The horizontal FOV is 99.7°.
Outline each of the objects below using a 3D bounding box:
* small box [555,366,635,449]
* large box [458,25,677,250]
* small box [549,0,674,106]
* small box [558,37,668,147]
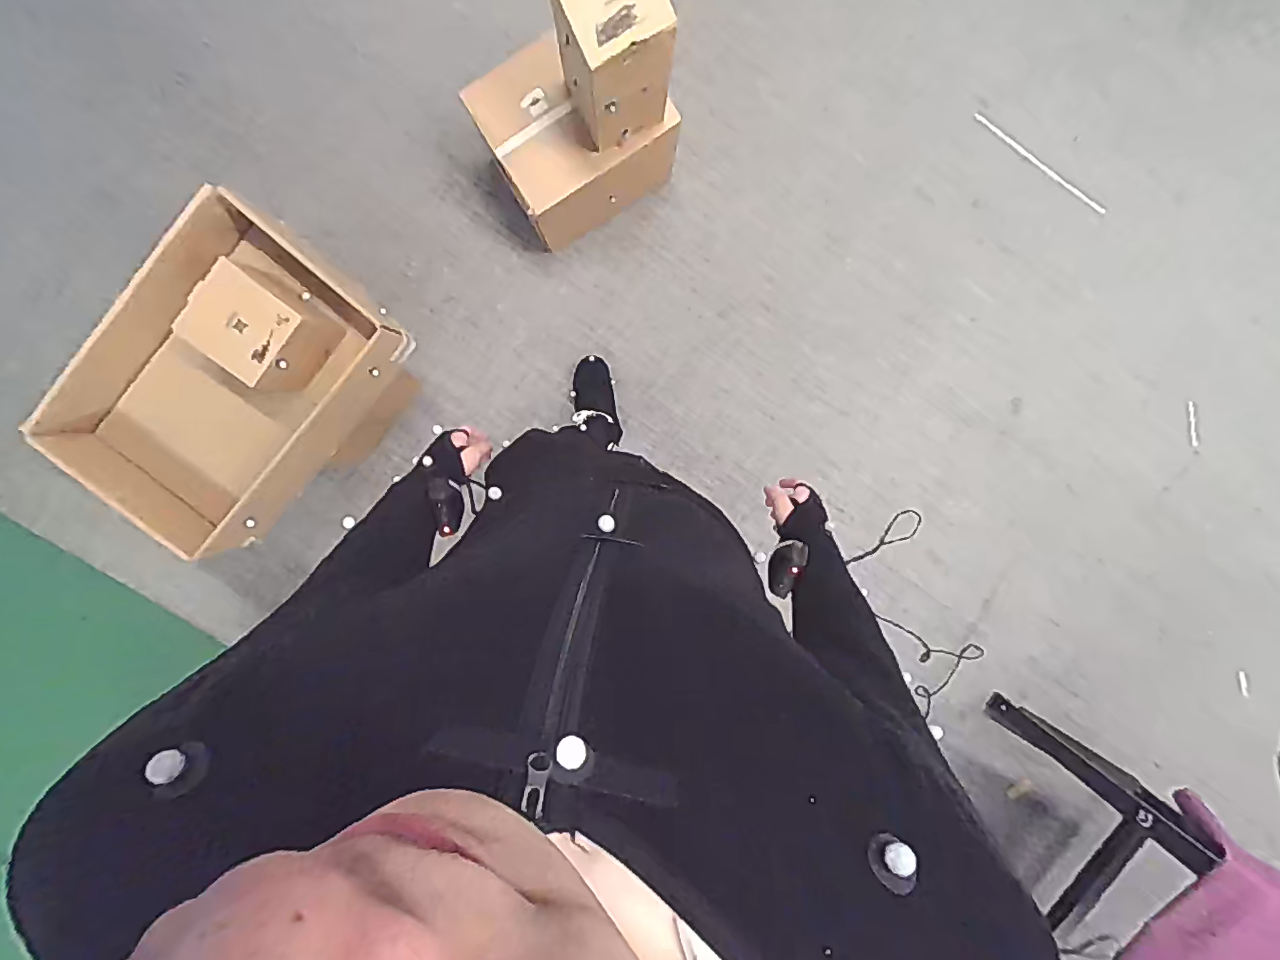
[{"bbox_3d":[-0.121,-0.202,1.543,0.168,0.176,0.179,26,95,2],"label":"small box"},{"bbox_3d":[-0.163,-0.856,1.353,0.408,0.320,0.320,-33,97,3],"label":"large box"},{"bbox_3d":[-0.052,-0.805,0.952,0.168,0.176,0.179,-26,98,2],"label":"small box"},{"bbox_3d":[-0.058,-0.837,1.113,0.168,0.176,0.179,-26,100,2],"label":"small box"}]
